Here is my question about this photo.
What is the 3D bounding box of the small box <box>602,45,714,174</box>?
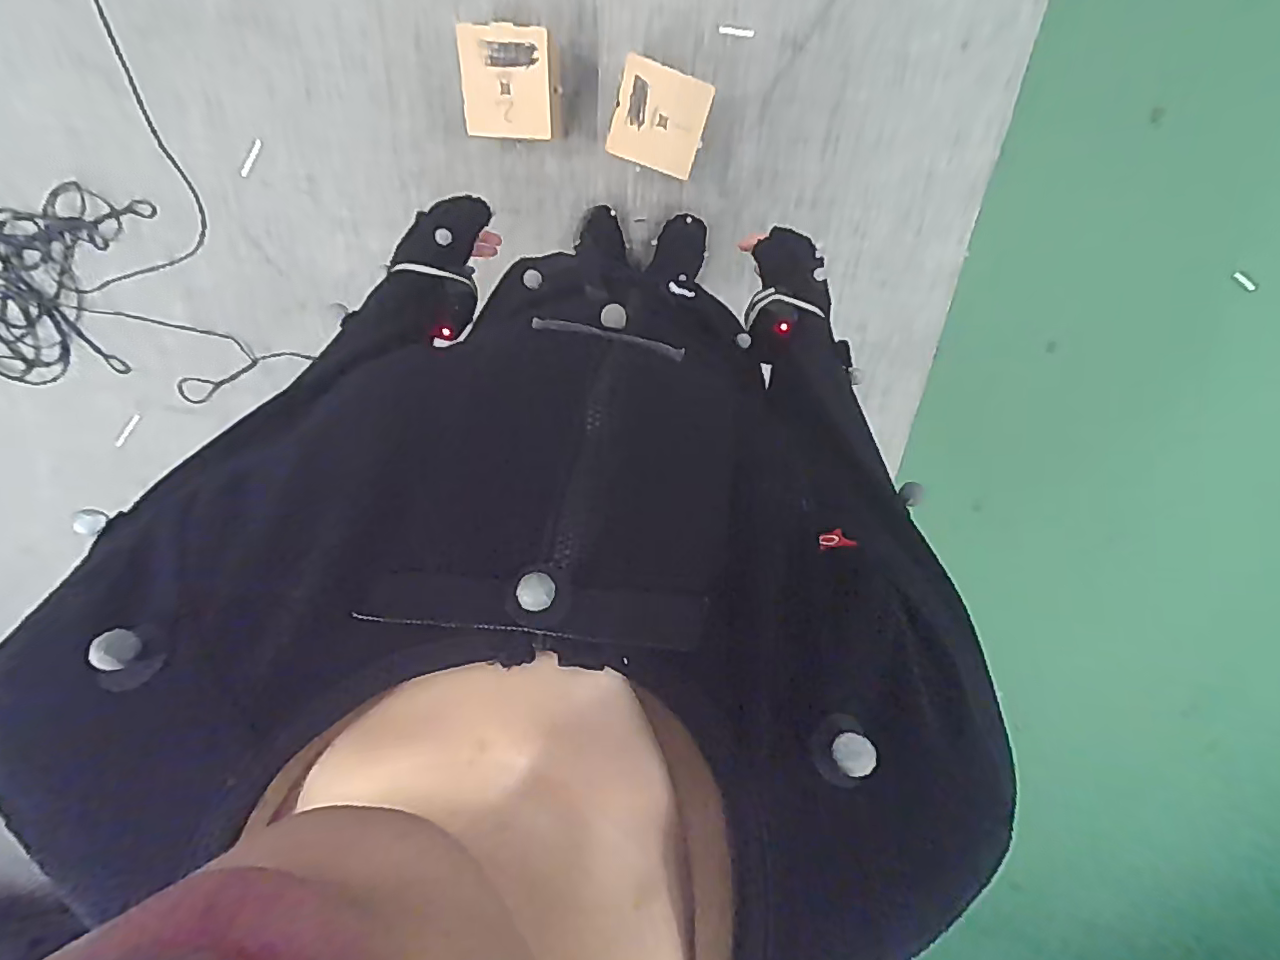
[{"bbox_3d":[0.031,-0.739,1.100,0.179,0.176,0.168,15,118,-9],"label":"small box"}]
